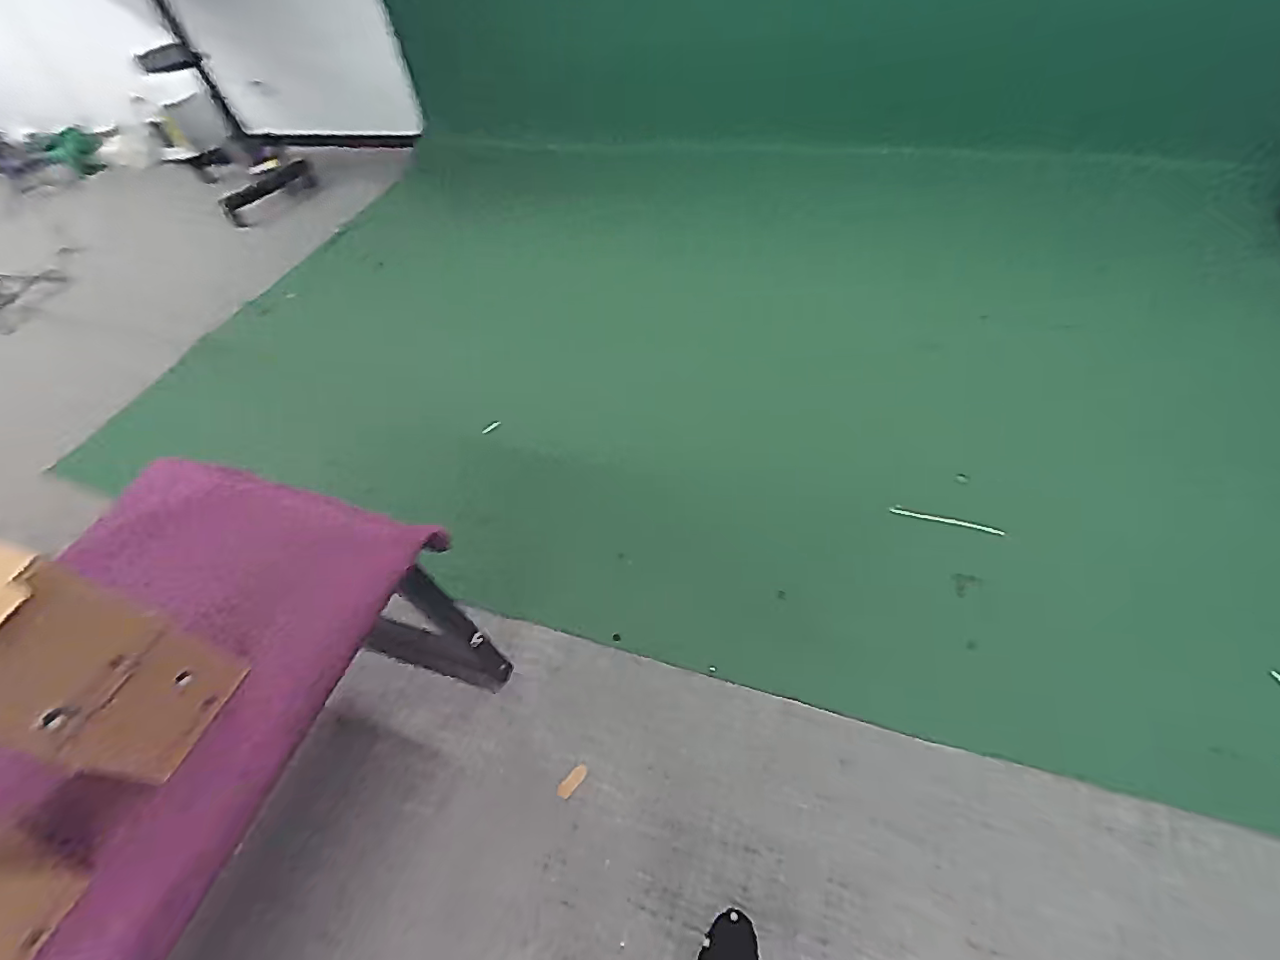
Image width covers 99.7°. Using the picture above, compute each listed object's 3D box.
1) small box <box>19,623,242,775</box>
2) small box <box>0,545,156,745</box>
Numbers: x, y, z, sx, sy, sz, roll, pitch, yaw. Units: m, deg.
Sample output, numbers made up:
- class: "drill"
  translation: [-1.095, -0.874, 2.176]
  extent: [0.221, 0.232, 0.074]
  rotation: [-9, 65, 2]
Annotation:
- class: "small box"
  translation: [-0.706, 0.280, 0.735]
  extent: [0.179, 0.176, 0.168]
  rotation: [12, 55, 18]
- class: "small box"
  translation: [-0.720, 0.178, 0.607]
  extent: [0.179, 0.176, 0.168]
  rotation: [10, 54, 17]
